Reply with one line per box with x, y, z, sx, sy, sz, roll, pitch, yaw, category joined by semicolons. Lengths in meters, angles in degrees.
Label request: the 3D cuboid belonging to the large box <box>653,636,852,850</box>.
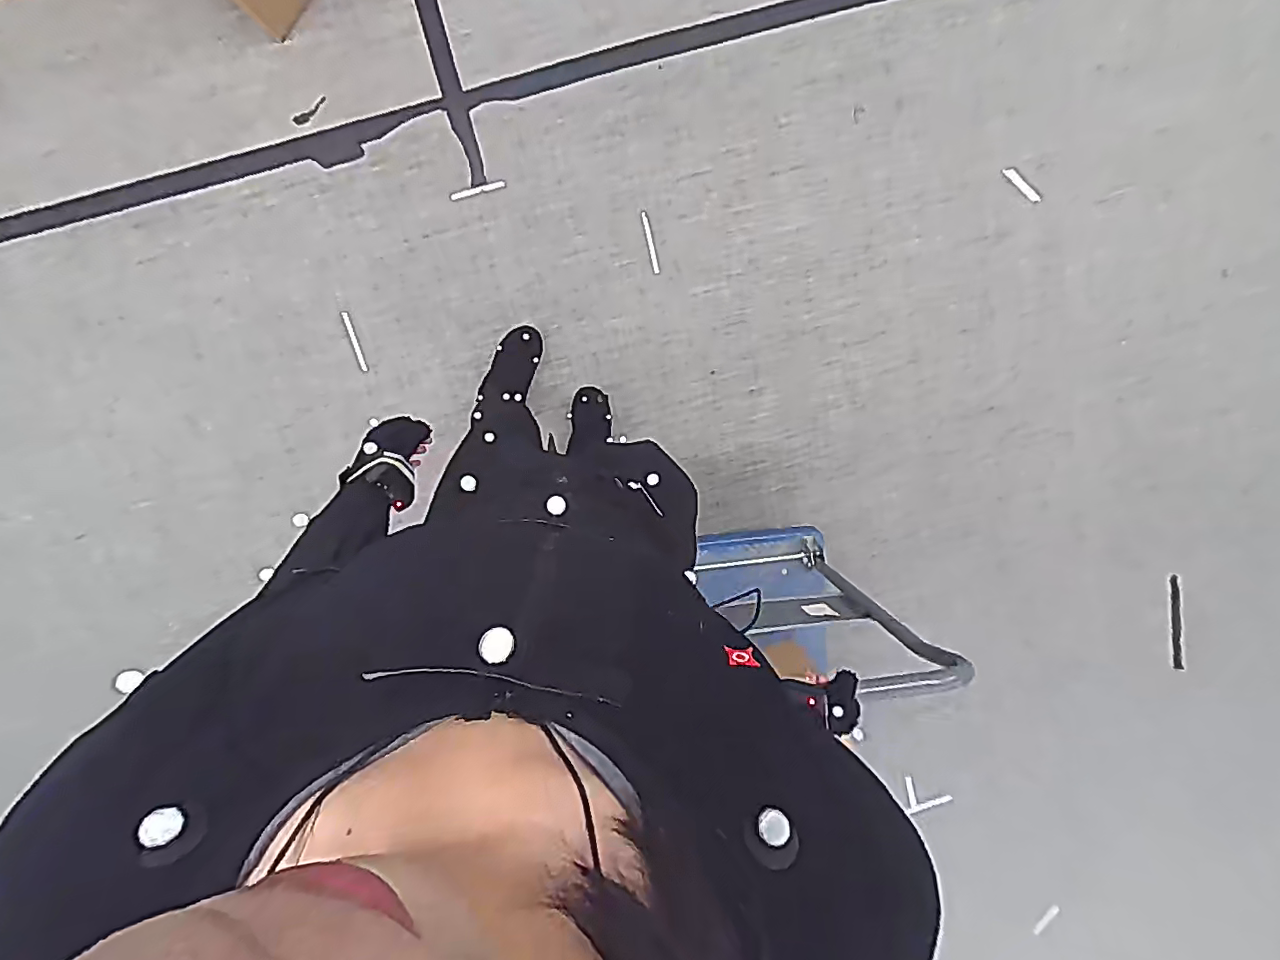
0.269;0.648;1.381;0.408;0.320;0.320;-12;103;-2;large box
